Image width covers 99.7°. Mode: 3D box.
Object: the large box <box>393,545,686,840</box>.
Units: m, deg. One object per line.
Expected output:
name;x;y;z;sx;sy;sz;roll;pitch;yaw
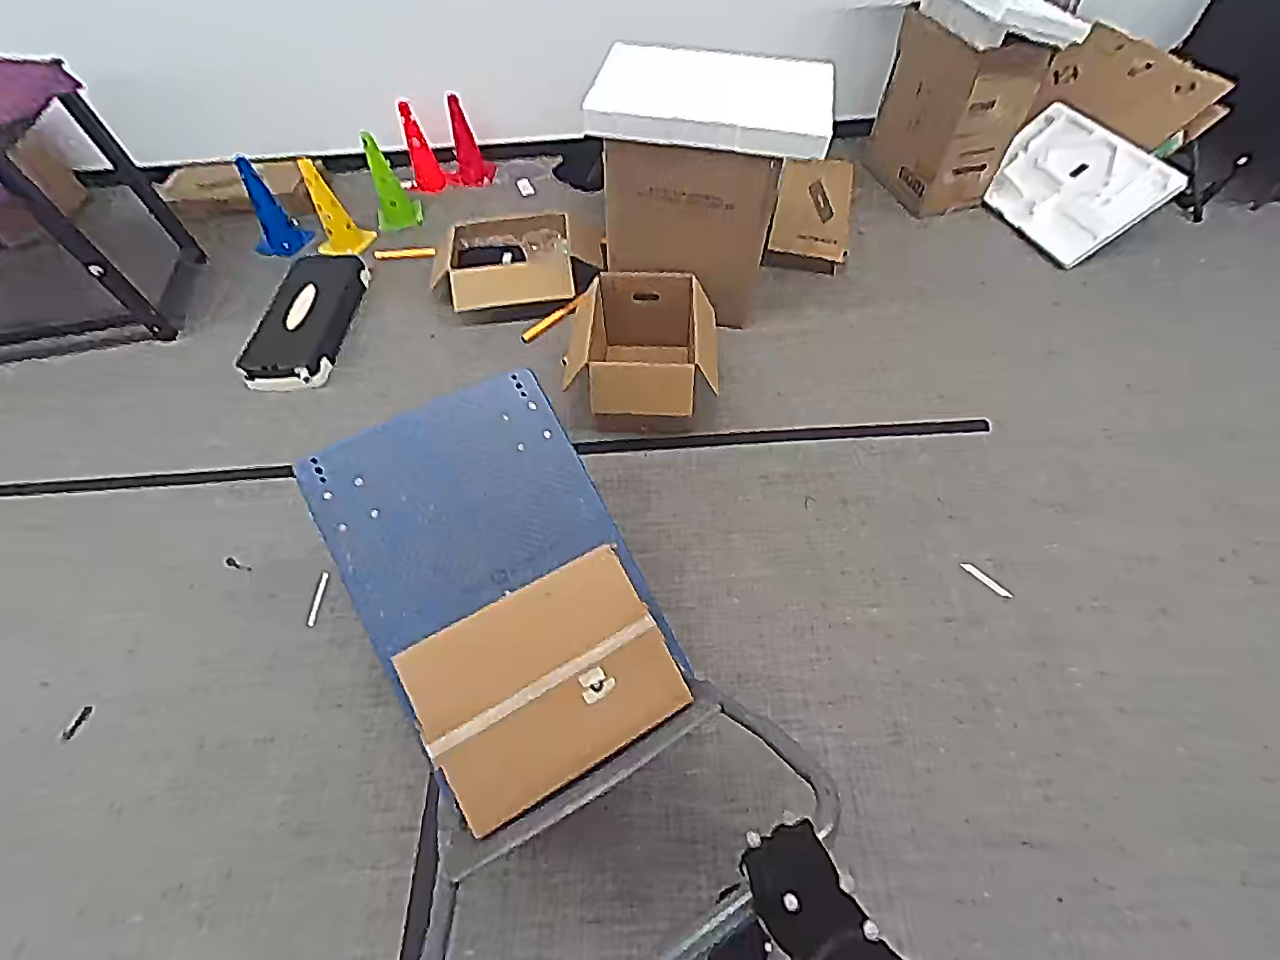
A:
large box;-0.186;0.372;1.041;0.408;0.320;0.320;-27;84;-16
